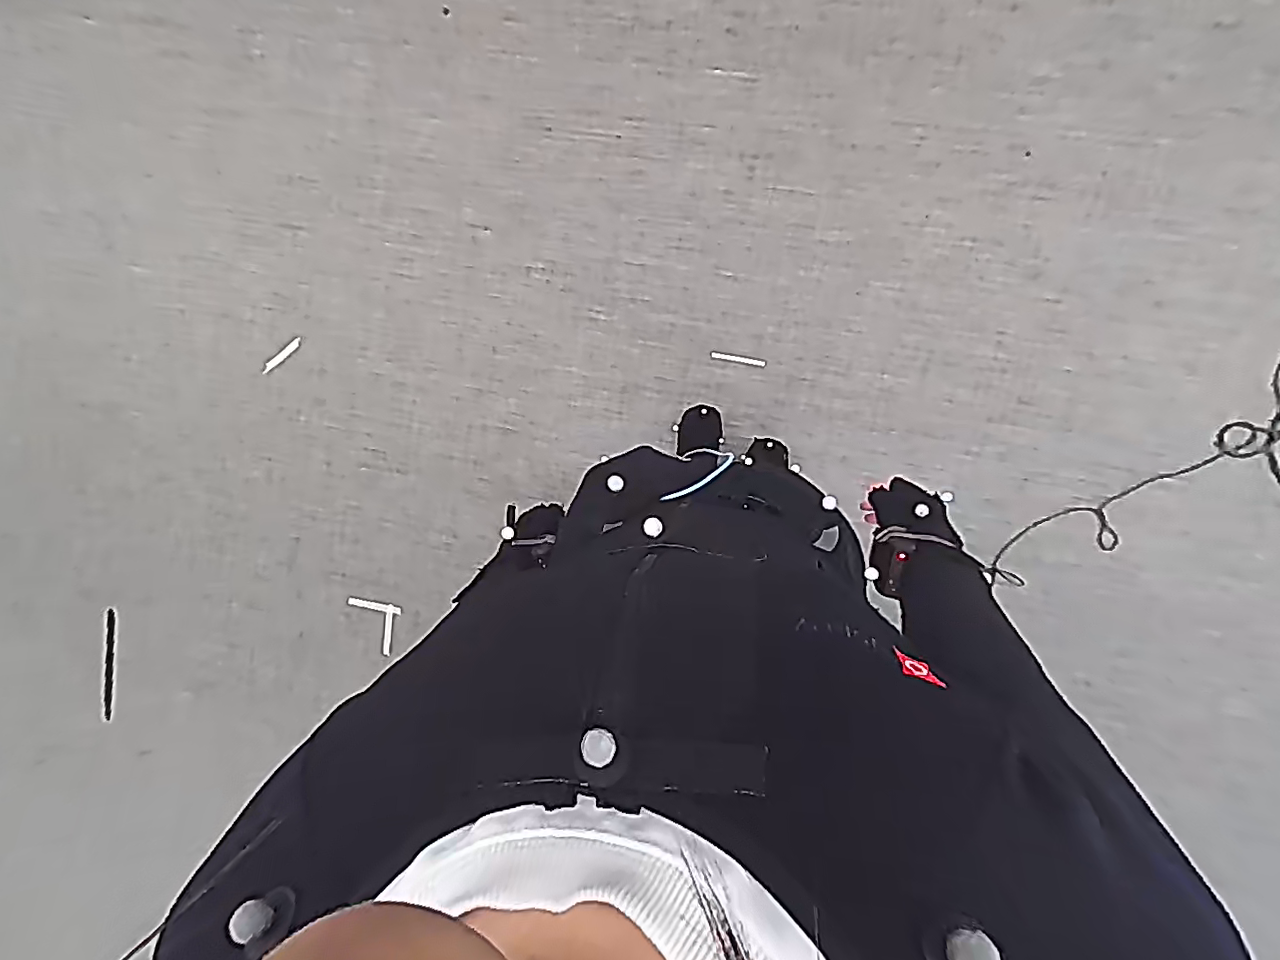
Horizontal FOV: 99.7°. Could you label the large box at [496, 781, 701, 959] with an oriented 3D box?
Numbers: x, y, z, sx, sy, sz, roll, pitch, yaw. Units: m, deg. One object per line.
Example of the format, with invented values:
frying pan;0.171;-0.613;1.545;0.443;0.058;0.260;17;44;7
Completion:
large box;-0.090;1.107;1.432;0.408;0.320;0.320;29;98;7
